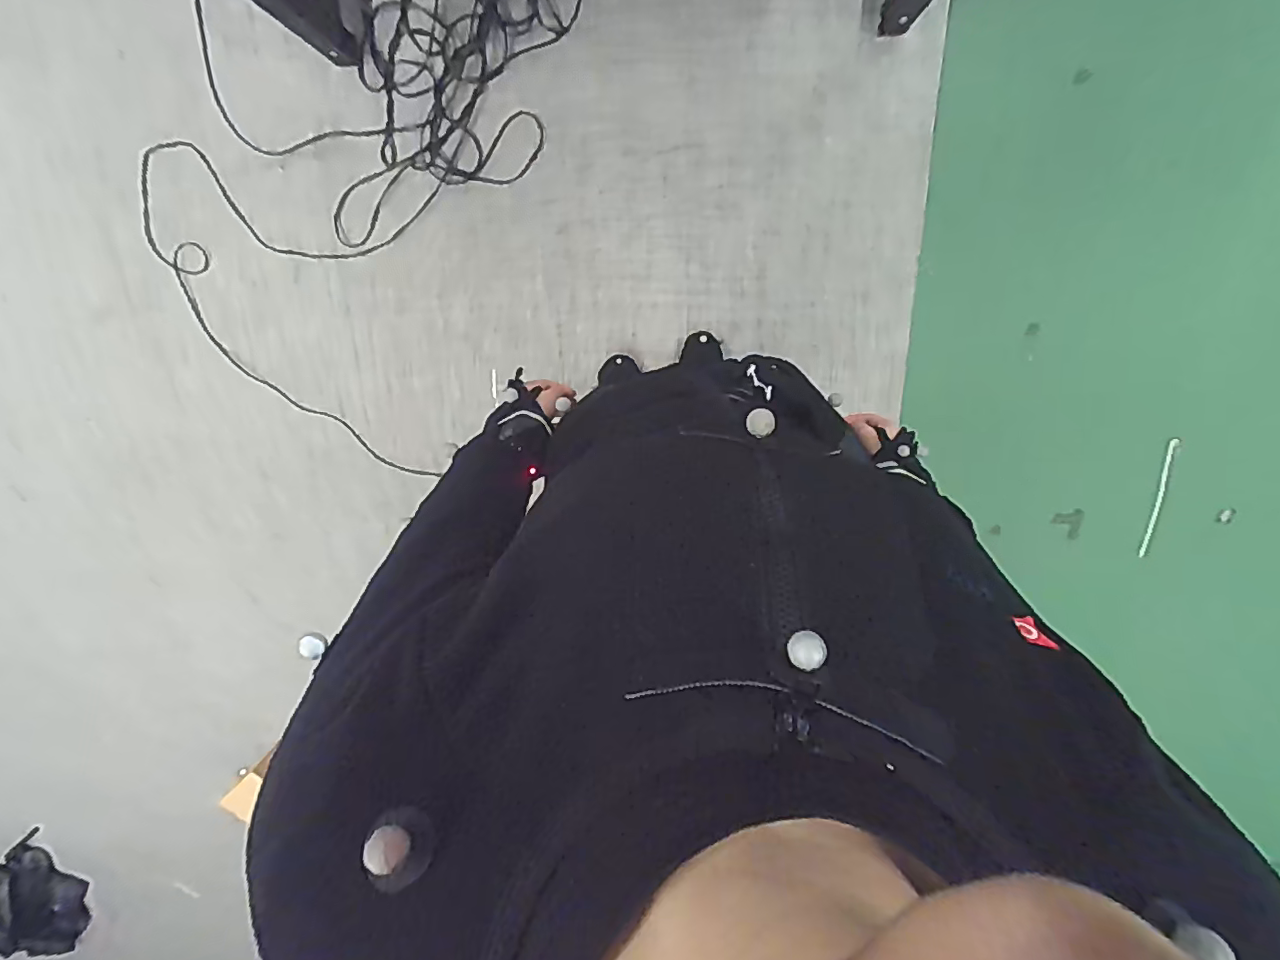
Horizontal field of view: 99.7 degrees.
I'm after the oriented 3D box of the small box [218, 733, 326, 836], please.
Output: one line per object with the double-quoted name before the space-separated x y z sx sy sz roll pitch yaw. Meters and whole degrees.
"small box" -1.091 0.906 1.620 0.168 0.176 0.179 44 103 -12
